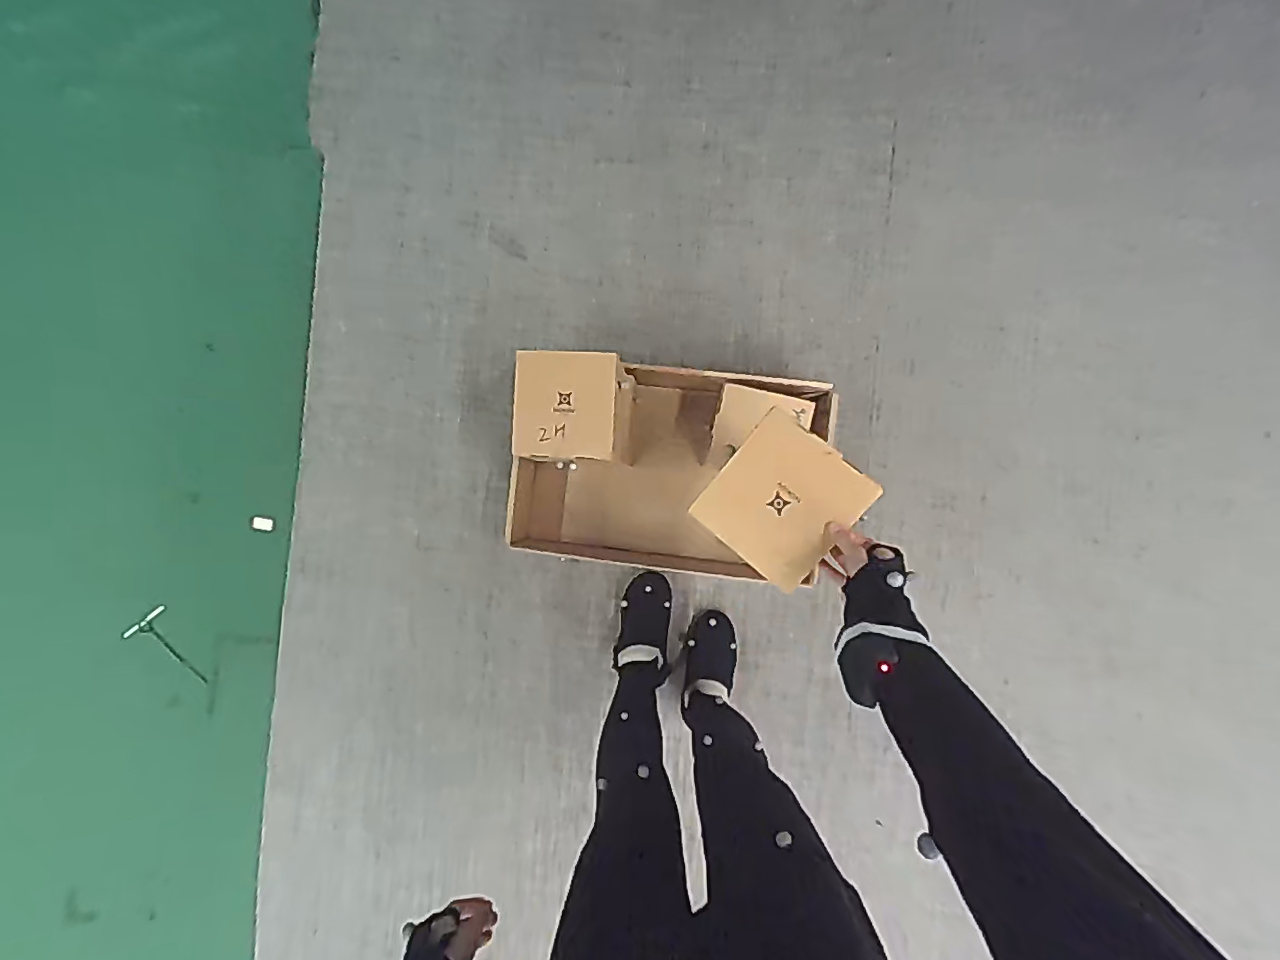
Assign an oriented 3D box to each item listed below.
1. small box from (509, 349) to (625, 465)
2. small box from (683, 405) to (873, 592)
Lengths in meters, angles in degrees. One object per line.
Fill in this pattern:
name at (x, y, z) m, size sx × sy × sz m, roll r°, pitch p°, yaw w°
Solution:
small box at (-0.119, -0.121, 0.949) m, size 0.168 × 0.176 × 0.179 m, roll 4°, pitch 90°, yaw 5°
small box at (0.187, 0.024, 0.747) m, size 0.168 × 0.176 × 0.179 m, roll 42°, pitch 99°, yaw 10°
